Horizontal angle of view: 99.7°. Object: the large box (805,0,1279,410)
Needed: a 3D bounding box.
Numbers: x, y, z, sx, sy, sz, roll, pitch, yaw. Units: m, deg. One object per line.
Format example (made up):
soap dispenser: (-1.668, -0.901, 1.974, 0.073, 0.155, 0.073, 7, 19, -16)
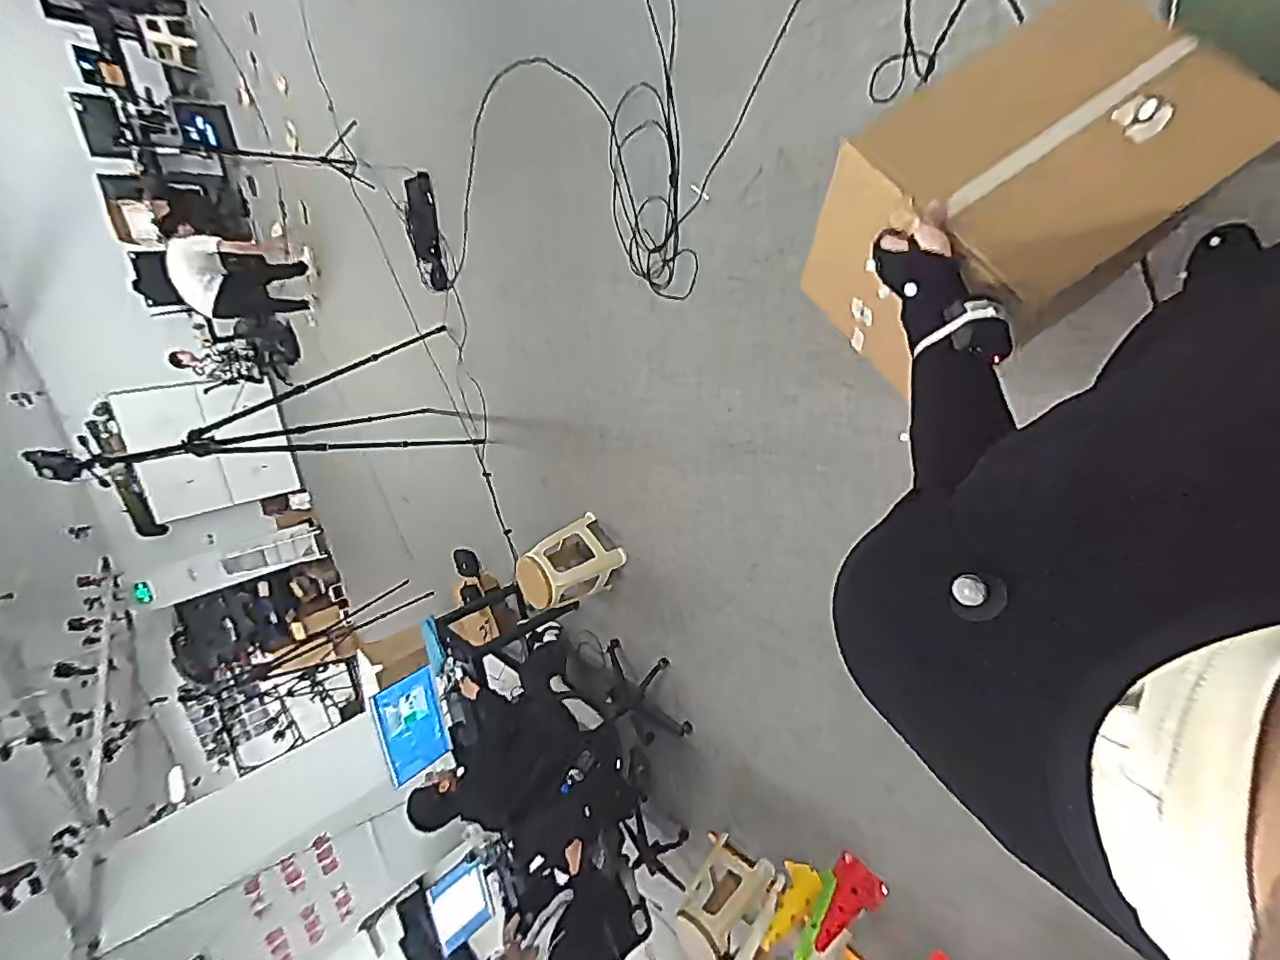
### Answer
large box: (0.521, -0.376, 0.795, 0.320, 0.408, 0.320, 55, 176, 14)
